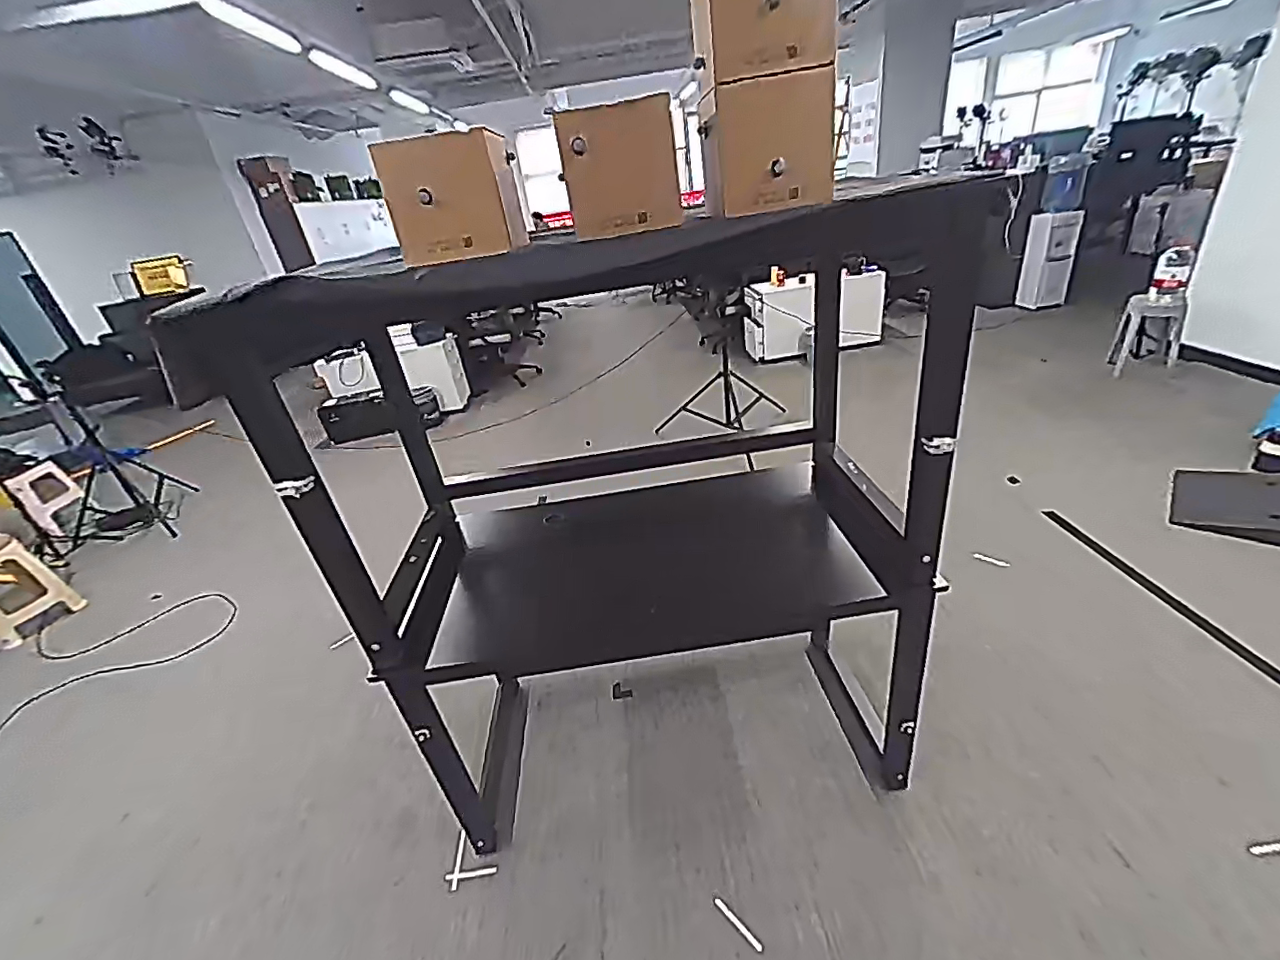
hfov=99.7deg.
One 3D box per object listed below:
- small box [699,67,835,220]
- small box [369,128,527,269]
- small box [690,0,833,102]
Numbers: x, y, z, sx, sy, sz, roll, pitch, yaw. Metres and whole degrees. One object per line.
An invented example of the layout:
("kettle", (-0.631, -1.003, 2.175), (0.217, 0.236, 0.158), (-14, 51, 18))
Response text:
("small box", (0.188, -0.505, 0.835), (0.168, 0.176, 0.179), (-10, 28, 2))
("small box", (-0.288, -0.437, 0.858), (0.168, 0.176, 0.179), (-8, 27, 2))
("small box", (0.166, -0.649, 0.759), (0.168, 0.176, 0.179), (-8, 28, 2))
